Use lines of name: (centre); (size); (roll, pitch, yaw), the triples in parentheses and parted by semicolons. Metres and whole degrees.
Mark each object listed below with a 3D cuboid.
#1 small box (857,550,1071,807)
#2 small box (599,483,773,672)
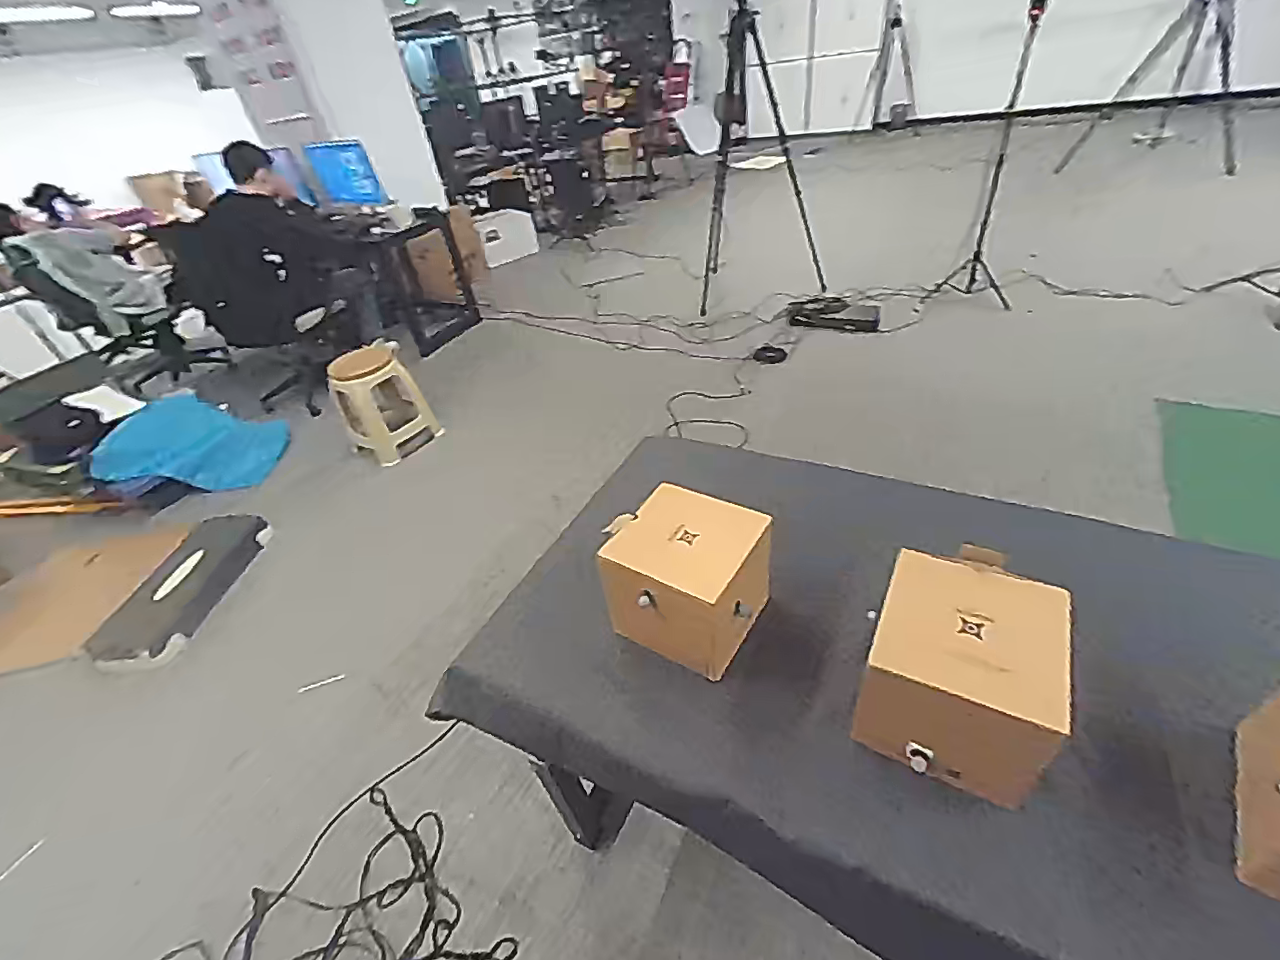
small box: (0.350, 0.213, 0.601); (0.168, 0.176, 0.179); (14, 44, 28)
small box: (0.071, 0.136, 0.753); (0.179, 0.176, 0.168); (18, 45, 30)
